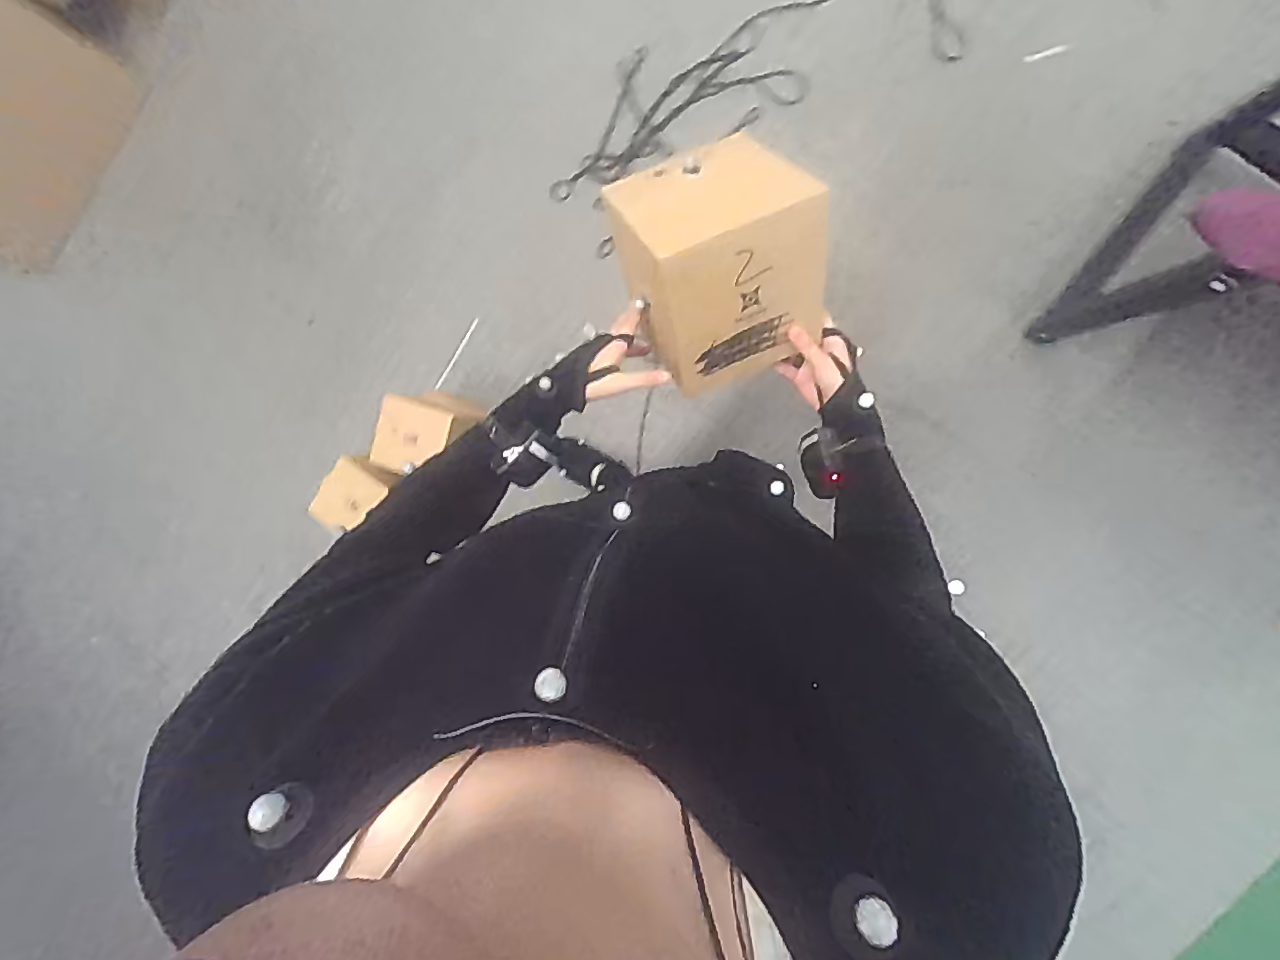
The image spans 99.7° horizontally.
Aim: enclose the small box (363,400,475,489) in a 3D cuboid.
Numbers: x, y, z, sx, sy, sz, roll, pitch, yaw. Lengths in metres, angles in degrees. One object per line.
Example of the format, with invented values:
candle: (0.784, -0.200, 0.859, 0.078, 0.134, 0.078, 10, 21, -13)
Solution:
small box: (-0.527, -0.088, 1.312, 0.179, 0.176, 0.168, 18, 96, 6)
